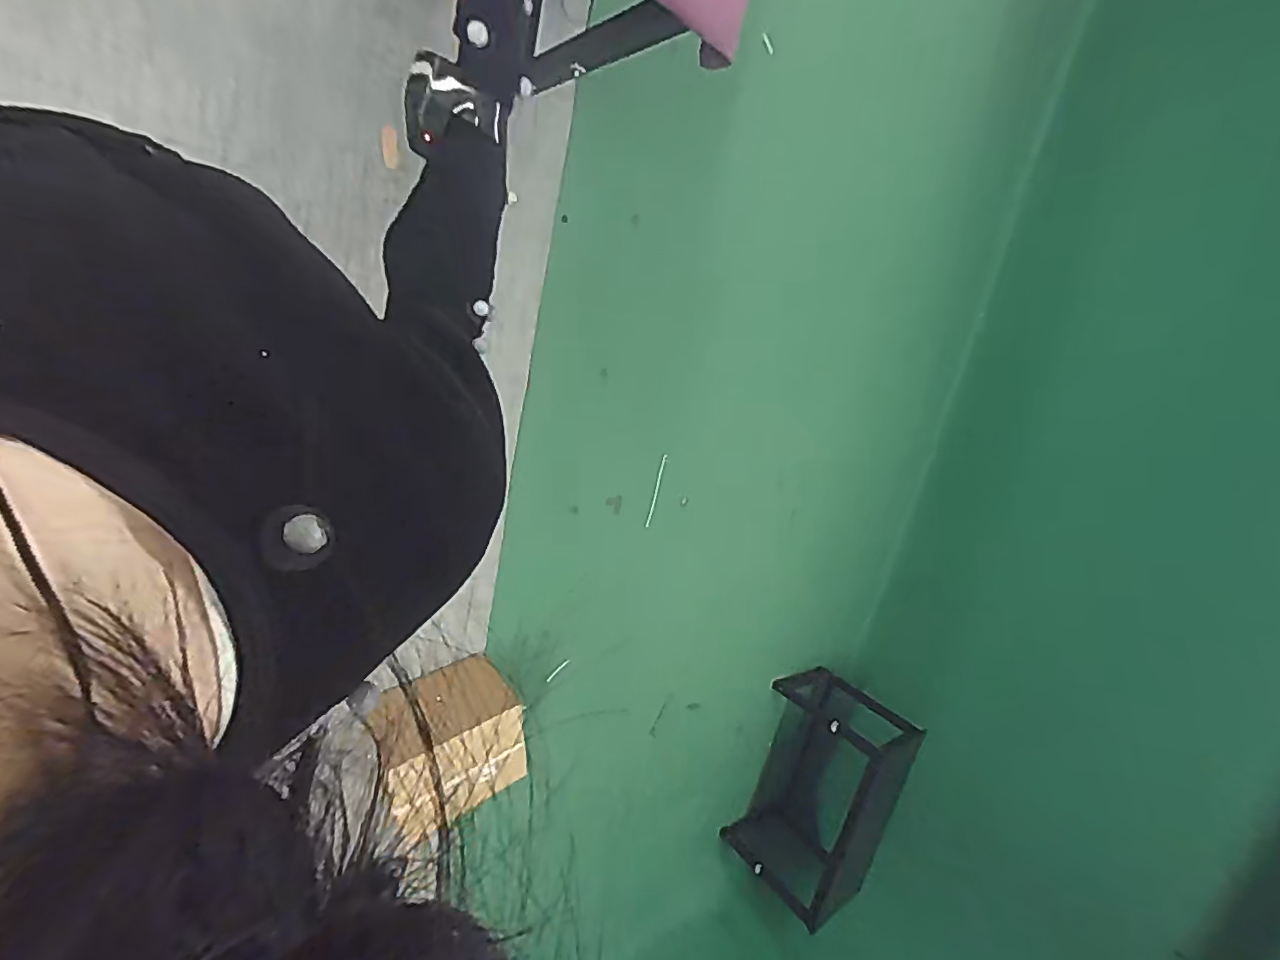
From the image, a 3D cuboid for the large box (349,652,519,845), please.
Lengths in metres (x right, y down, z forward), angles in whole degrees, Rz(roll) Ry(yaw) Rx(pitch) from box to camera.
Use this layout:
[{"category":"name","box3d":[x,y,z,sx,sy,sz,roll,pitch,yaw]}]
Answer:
[{"category":"large box","box3d":[-0.648,0.823,1.722,0.408,0.320,0.320,-17,120,-38]}]
